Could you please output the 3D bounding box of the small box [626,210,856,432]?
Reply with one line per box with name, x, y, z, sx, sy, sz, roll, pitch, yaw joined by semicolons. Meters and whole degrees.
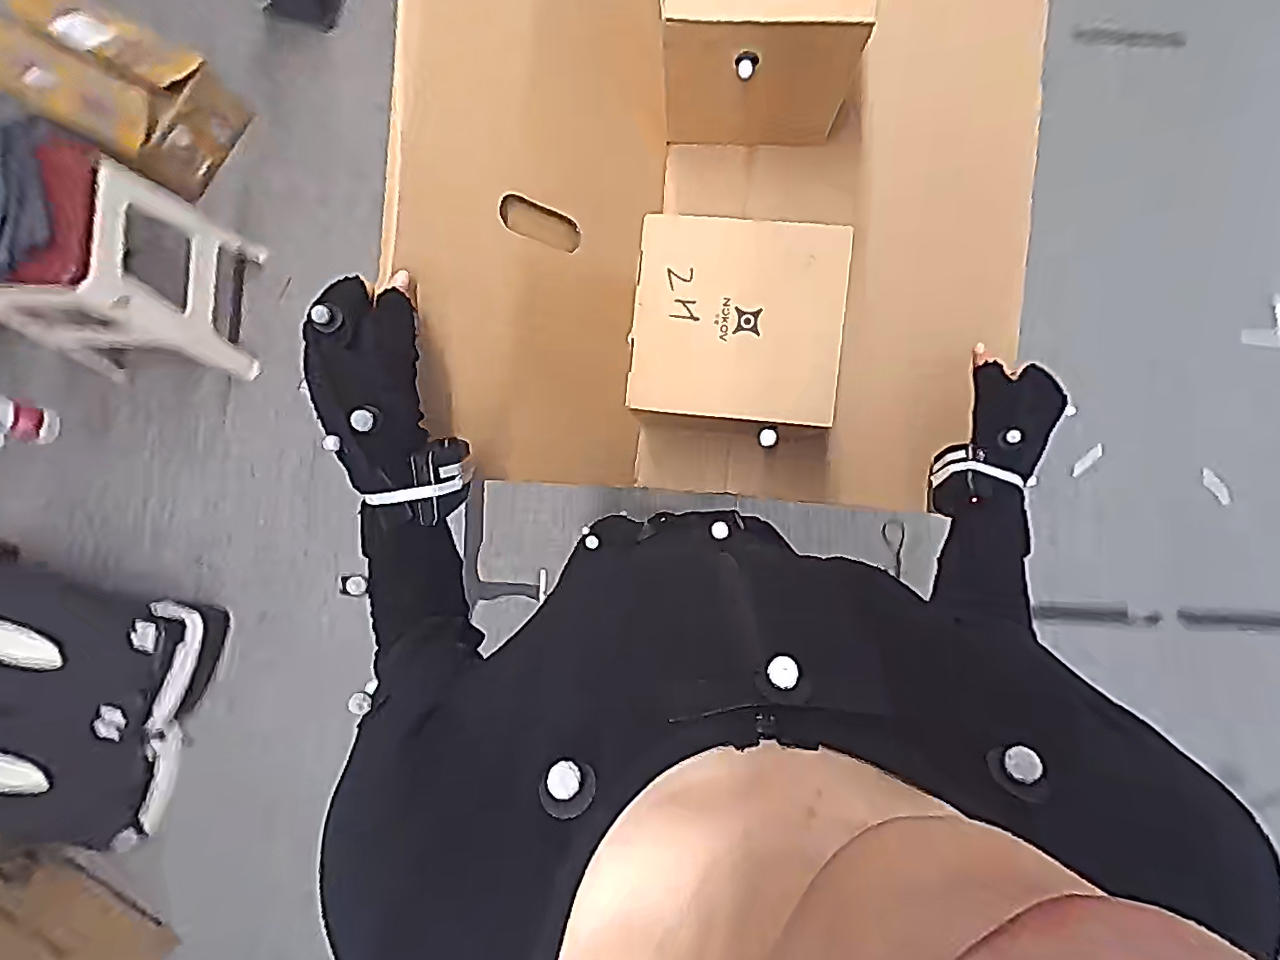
small box;0.091;-0.141;0.538;0.179;0.176;0.168;8;92;5
